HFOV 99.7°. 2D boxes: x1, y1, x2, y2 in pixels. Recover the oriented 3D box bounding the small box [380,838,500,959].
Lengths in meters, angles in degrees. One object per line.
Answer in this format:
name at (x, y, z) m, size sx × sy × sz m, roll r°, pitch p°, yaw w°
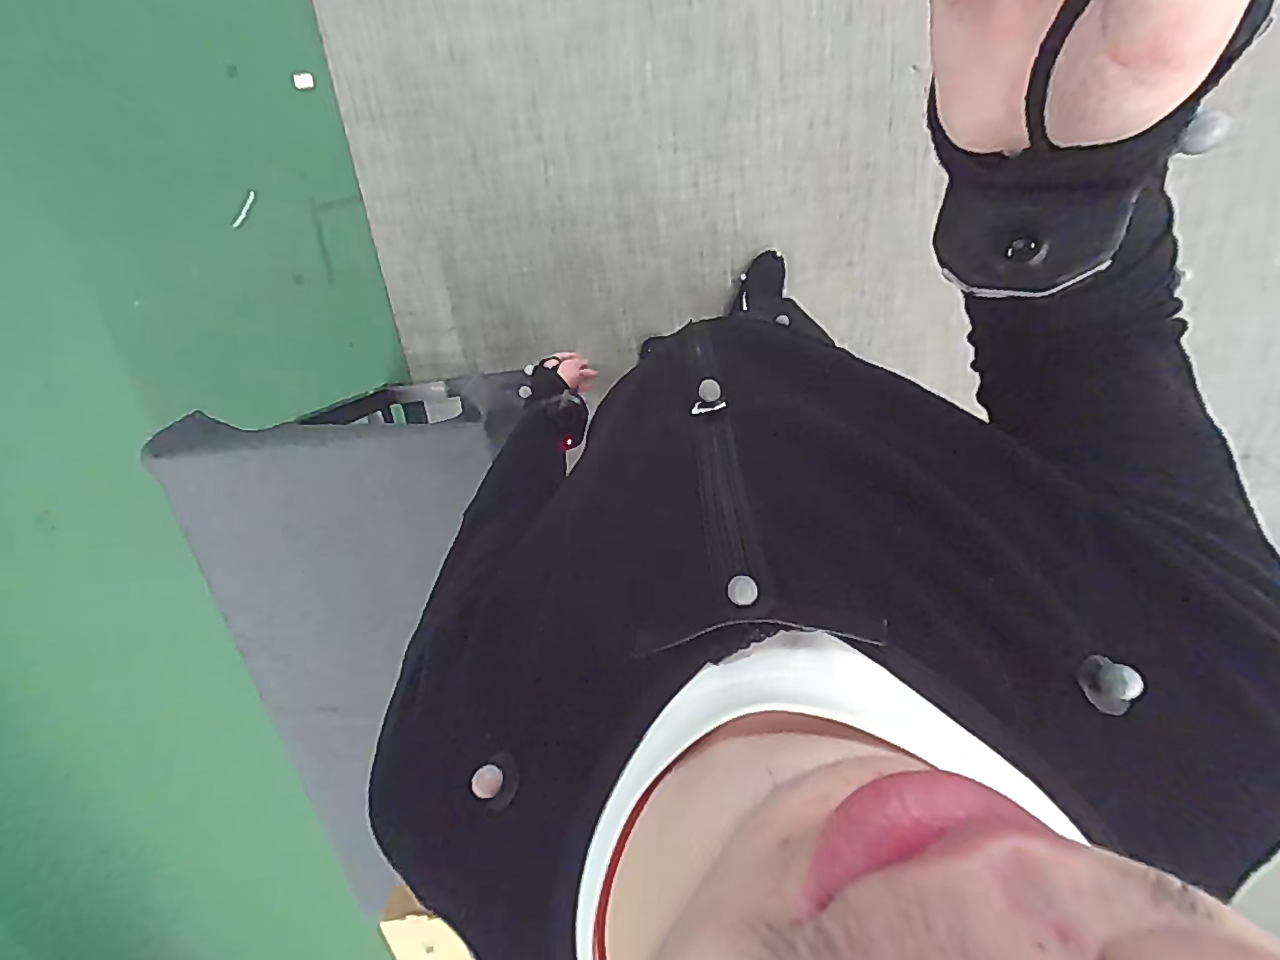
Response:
small box at (-0.420, 0.908, 1.167) m, size 0.168 × 0.176 × 0.179 m, roll -5°, pitch 109°, yaw 8°
